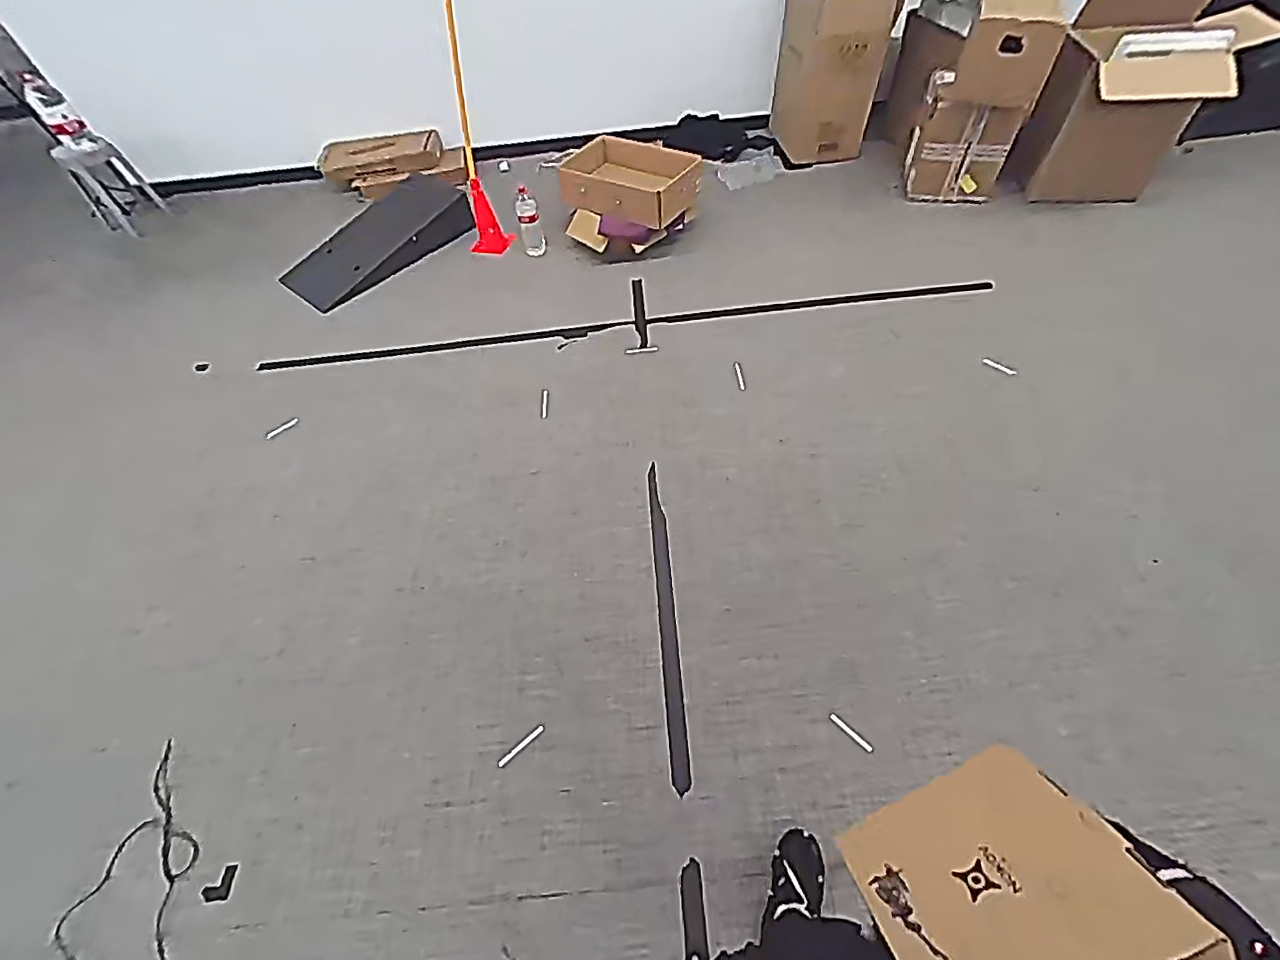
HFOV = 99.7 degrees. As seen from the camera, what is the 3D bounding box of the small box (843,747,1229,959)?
[{"bbox_3d":[0.297,0.360,0.418,0.179,0.176,0.168,-28,13,1],"label":"small box"}]
